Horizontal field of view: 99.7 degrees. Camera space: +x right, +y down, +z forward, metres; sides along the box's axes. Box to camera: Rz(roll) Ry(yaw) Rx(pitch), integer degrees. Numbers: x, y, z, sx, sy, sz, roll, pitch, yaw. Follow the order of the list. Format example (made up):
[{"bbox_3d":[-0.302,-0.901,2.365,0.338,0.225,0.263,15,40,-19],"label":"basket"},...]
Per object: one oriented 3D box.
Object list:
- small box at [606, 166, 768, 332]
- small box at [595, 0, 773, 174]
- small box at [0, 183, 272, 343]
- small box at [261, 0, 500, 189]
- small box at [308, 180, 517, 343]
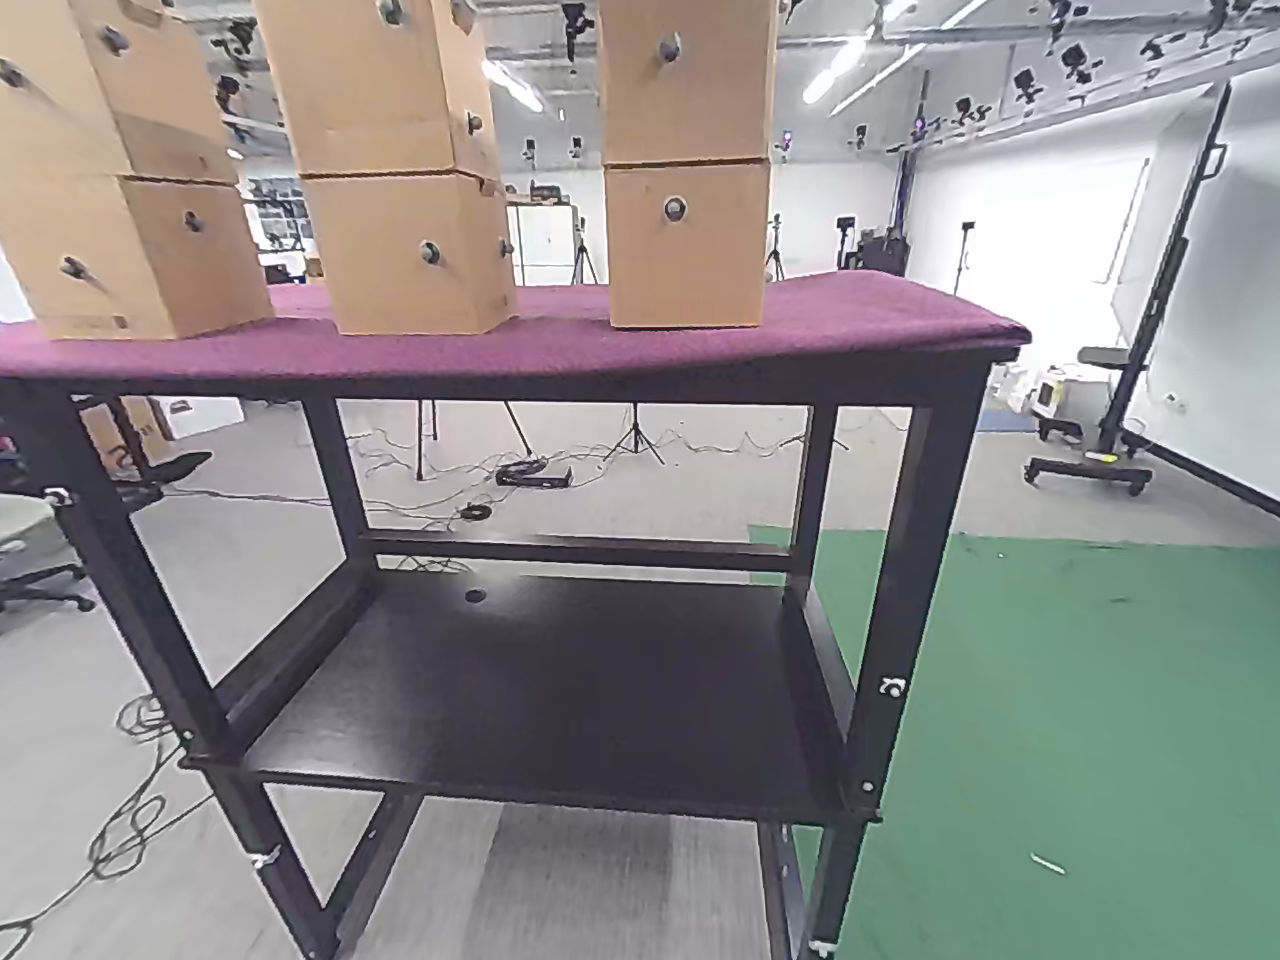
[{"bbox_3d":[0.060,-0.278,0.673,0.179,0.176,0.168,2,23,7],"label":"small box"},{"bbox_3d":[0.054,-0.430,0.610,0.179,0.176,0.168,1,23,7],"label":"small box"},{"bbox_3d":[-0.605,-0.270,0.675,0.168,0.176,0.179,1,25,2],"label":"small box"},{"bbox_3d":[-0.272,-0.421,0.611,0.179,0.176,0.168,0,24,2],"label":"small box"},{"bbox_3d":[-0.263,-0.271,0.677,0.179,0.176,0.168,0,24,4],"label":"small box"}]
